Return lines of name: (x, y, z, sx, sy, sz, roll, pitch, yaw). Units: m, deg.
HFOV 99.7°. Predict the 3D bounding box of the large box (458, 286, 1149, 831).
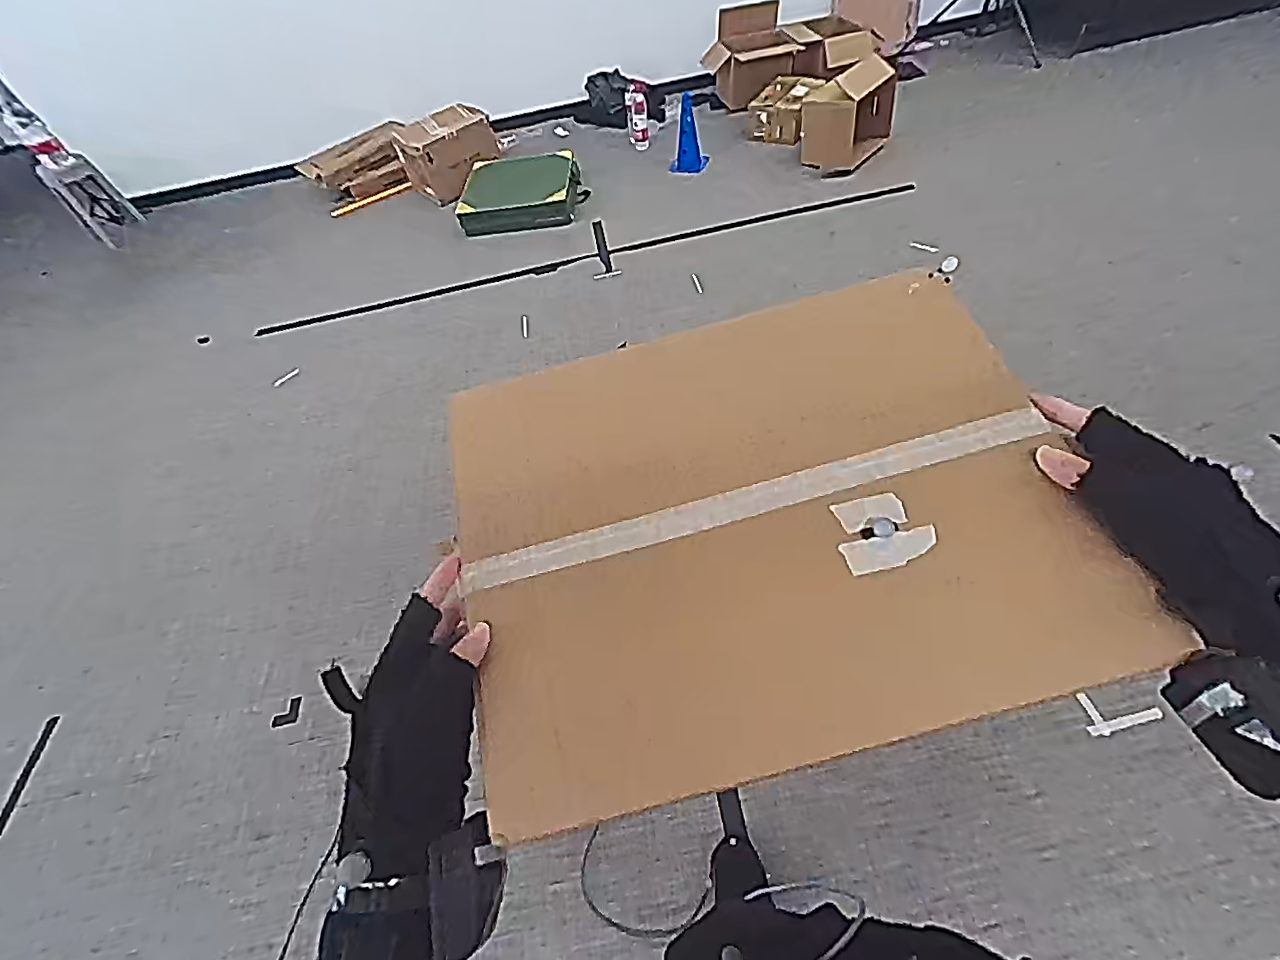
large box: (0.091, 0.085, 0.514, 0.408, 0.320, 0.320, -15, 64, -1)
